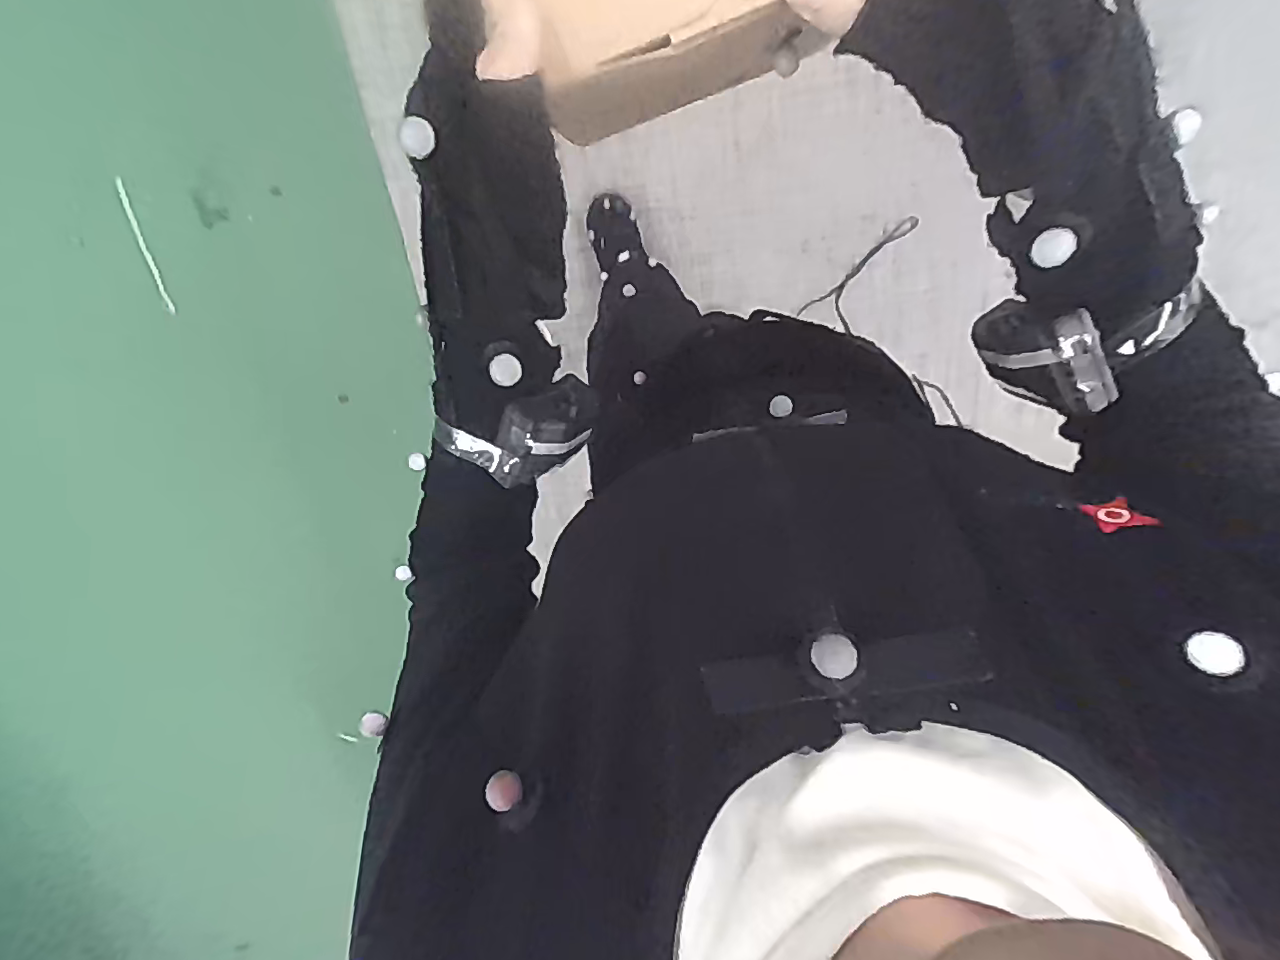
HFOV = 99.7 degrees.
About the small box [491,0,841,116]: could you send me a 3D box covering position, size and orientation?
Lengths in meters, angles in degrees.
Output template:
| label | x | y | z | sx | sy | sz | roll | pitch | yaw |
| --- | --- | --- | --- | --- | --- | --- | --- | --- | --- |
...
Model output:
| label | x | y | z | sx | sy | sz | roll | pitch | yaw |
| --- | --- | --- | --- | --- | --- | --- | --- | --- | --- |
| small box | 0.007 | -0.283 | 0.230 | 0.168 | 0.176 | 0.179 | -18 | 115 | 12 |
